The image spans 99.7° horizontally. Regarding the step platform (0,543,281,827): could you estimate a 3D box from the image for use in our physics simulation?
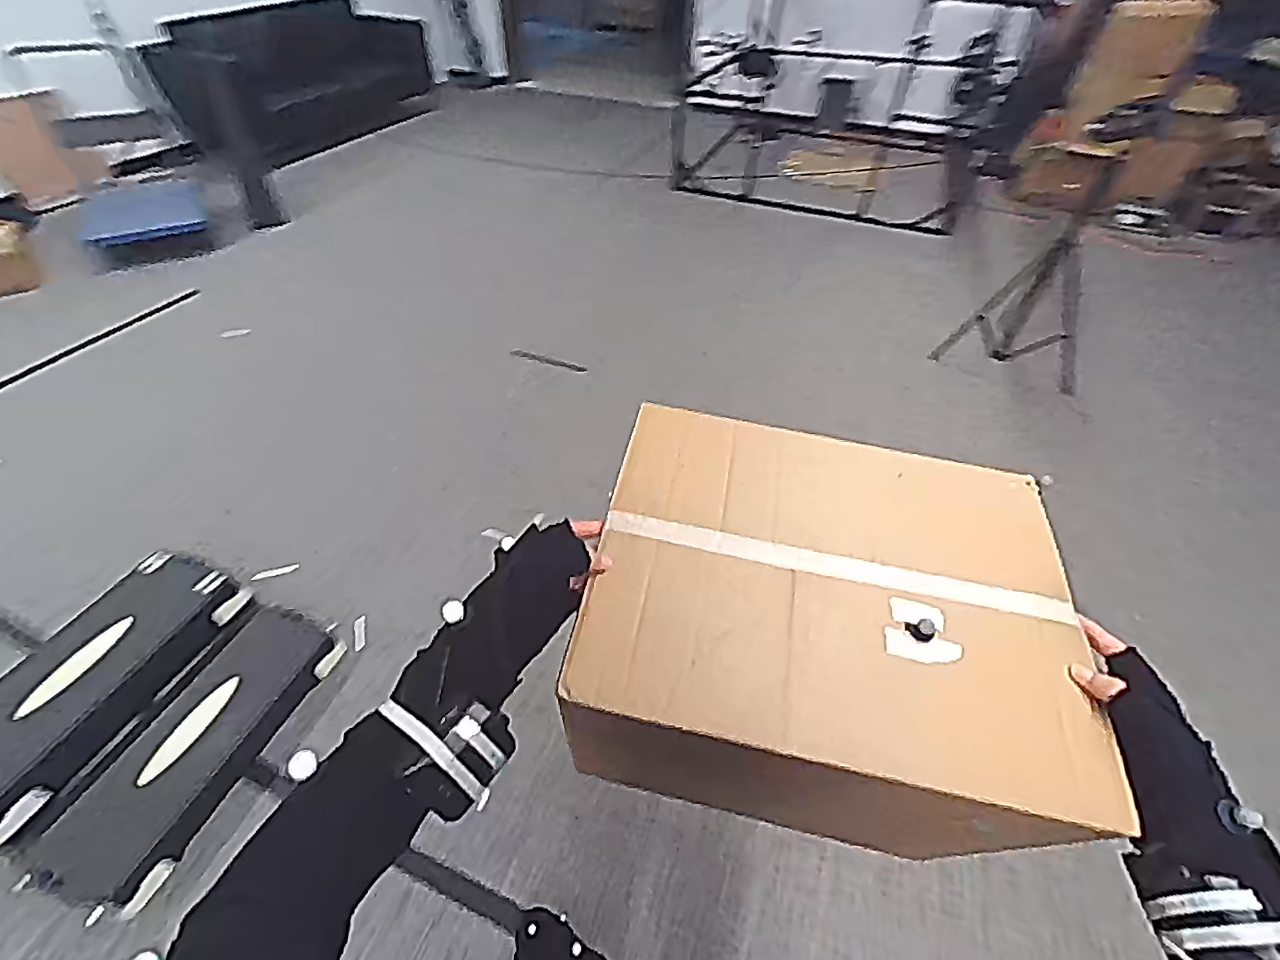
[{"bbox_3d":[-1.328,0.485,1.412,0.286,0.204,0.684,15,47,12],"label":"step platform"}]
